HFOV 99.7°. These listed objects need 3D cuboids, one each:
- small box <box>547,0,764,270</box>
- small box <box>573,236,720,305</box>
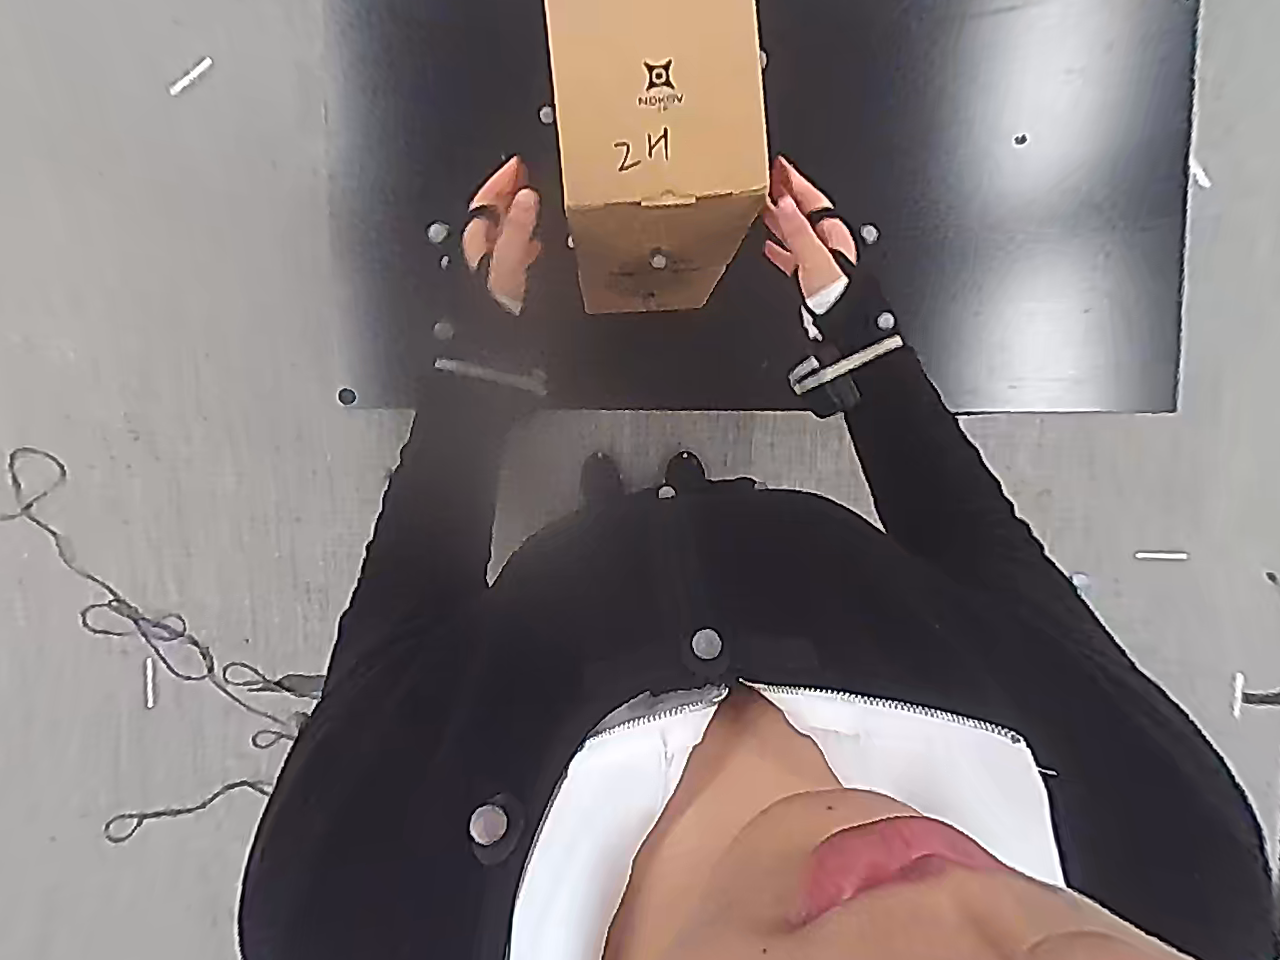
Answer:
[{"bbox_3d":[0.009,-0.318,0.508,0.168,0.176,0.179,-5,92,-1],"label":"small box"},{"bbox_3d":[0.004,-0.324,0.675,0.168,0.176,0.179,-4,94,-1],"label":"small box"}]
